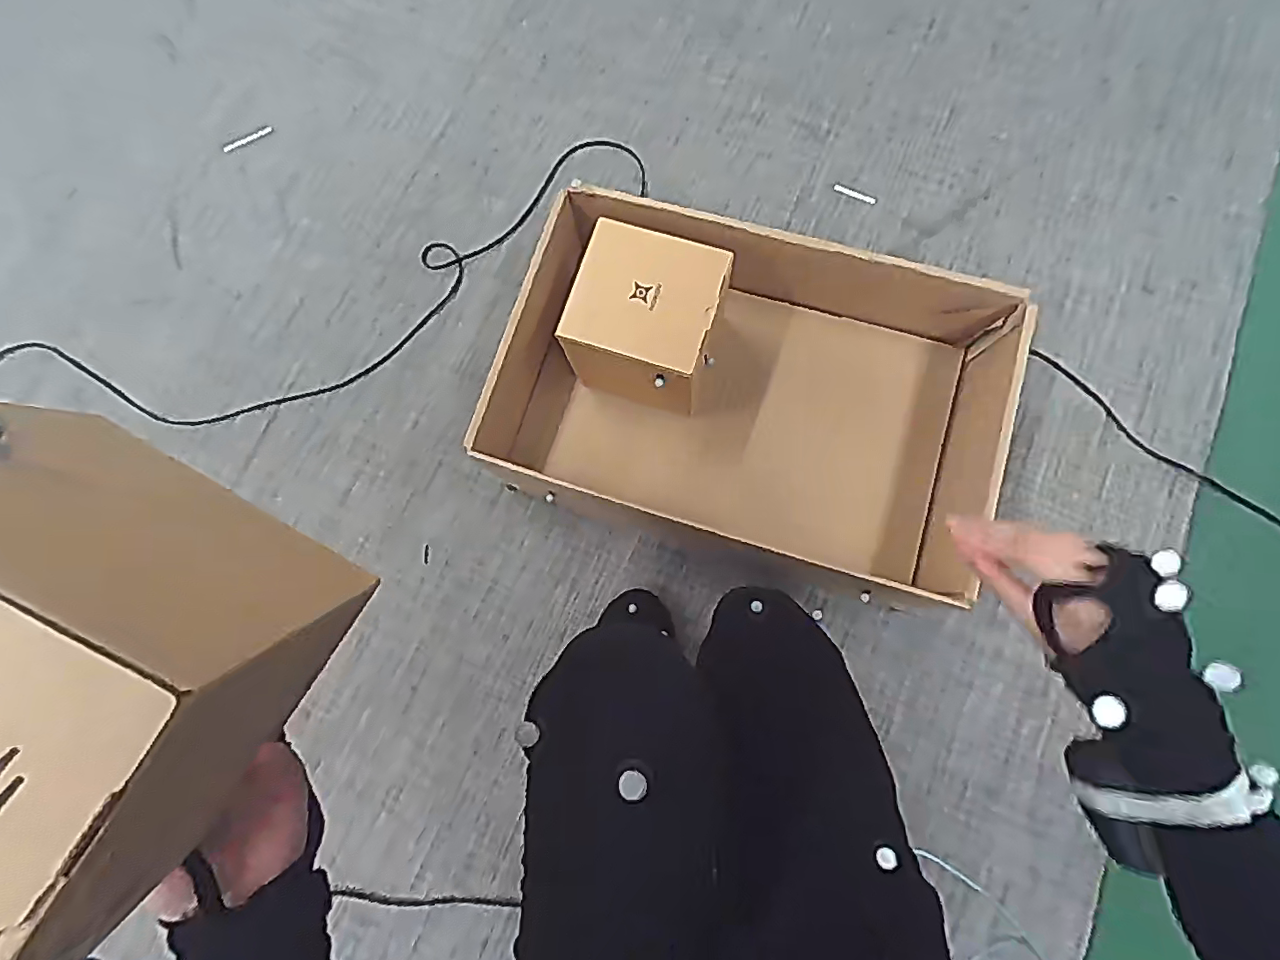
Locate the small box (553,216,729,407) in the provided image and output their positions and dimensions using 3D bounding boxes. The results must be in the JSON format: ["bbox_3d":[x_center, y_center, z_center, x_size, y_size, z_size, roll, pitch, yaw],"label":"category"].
[{"bbox_3d":[0.006,-0.212,0.724,0.179,0.176,0.168,17,82,6],"label":"small box"}]
